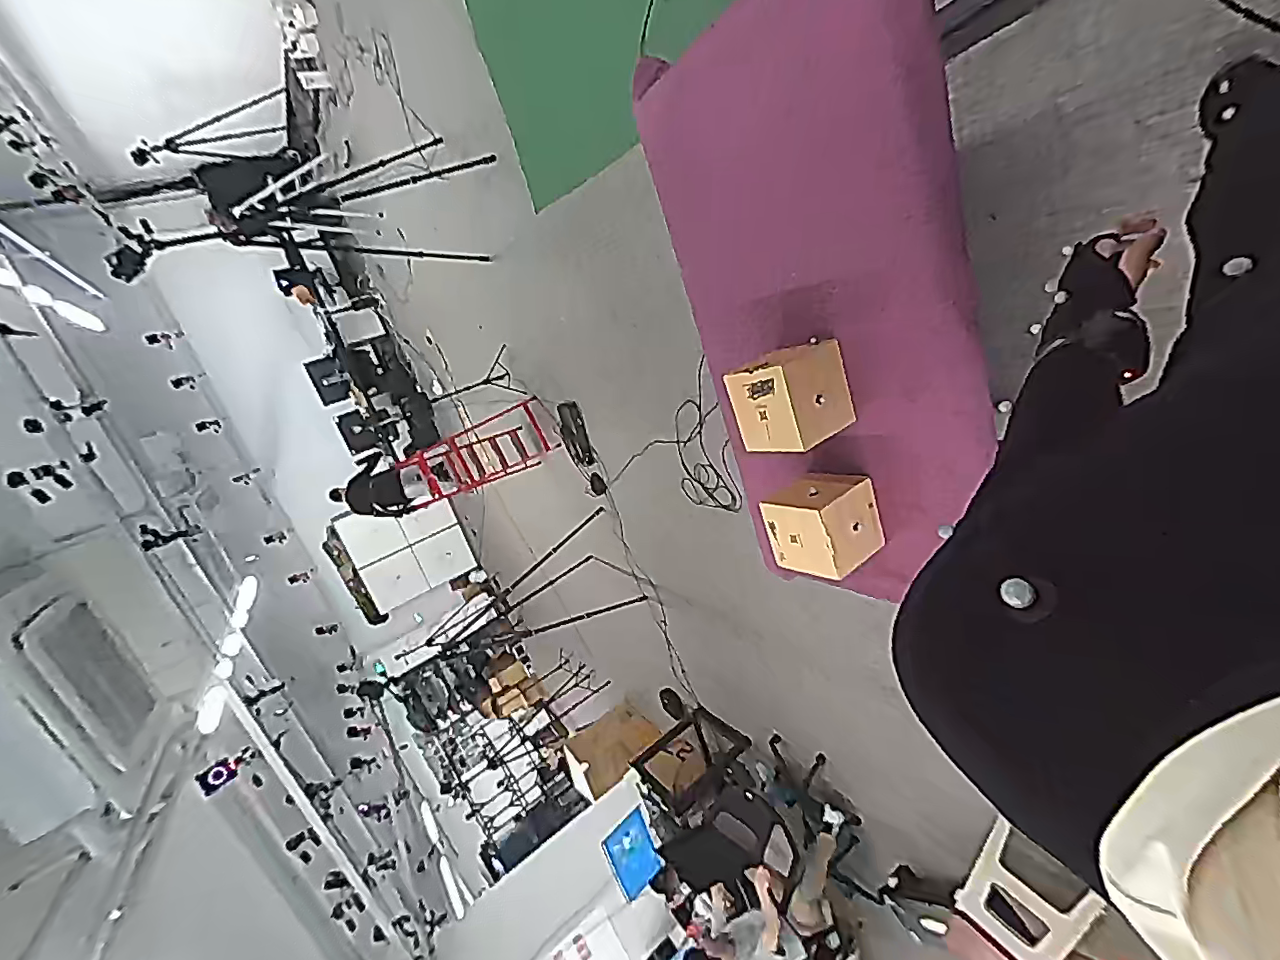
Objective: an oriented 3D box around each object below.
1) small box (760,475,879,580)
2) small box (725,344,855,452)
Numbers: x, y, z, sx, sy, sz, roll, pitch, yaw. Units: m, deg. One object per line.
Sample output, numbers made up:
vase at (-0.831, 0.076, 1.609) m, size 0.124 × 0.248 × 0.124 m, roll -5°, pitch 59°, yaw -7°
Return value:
small box at (0.402, 0.096, 1.191) m, size 0.179 × 0.176 × 0.168 m, roll 5°, pitch 118°, yaw 58°
small box at (0.310, -0.170, 1.113) m, size 0.168 × 0.176 × 0.179 m, roll 6°, pitch 121°, yaw 58°
